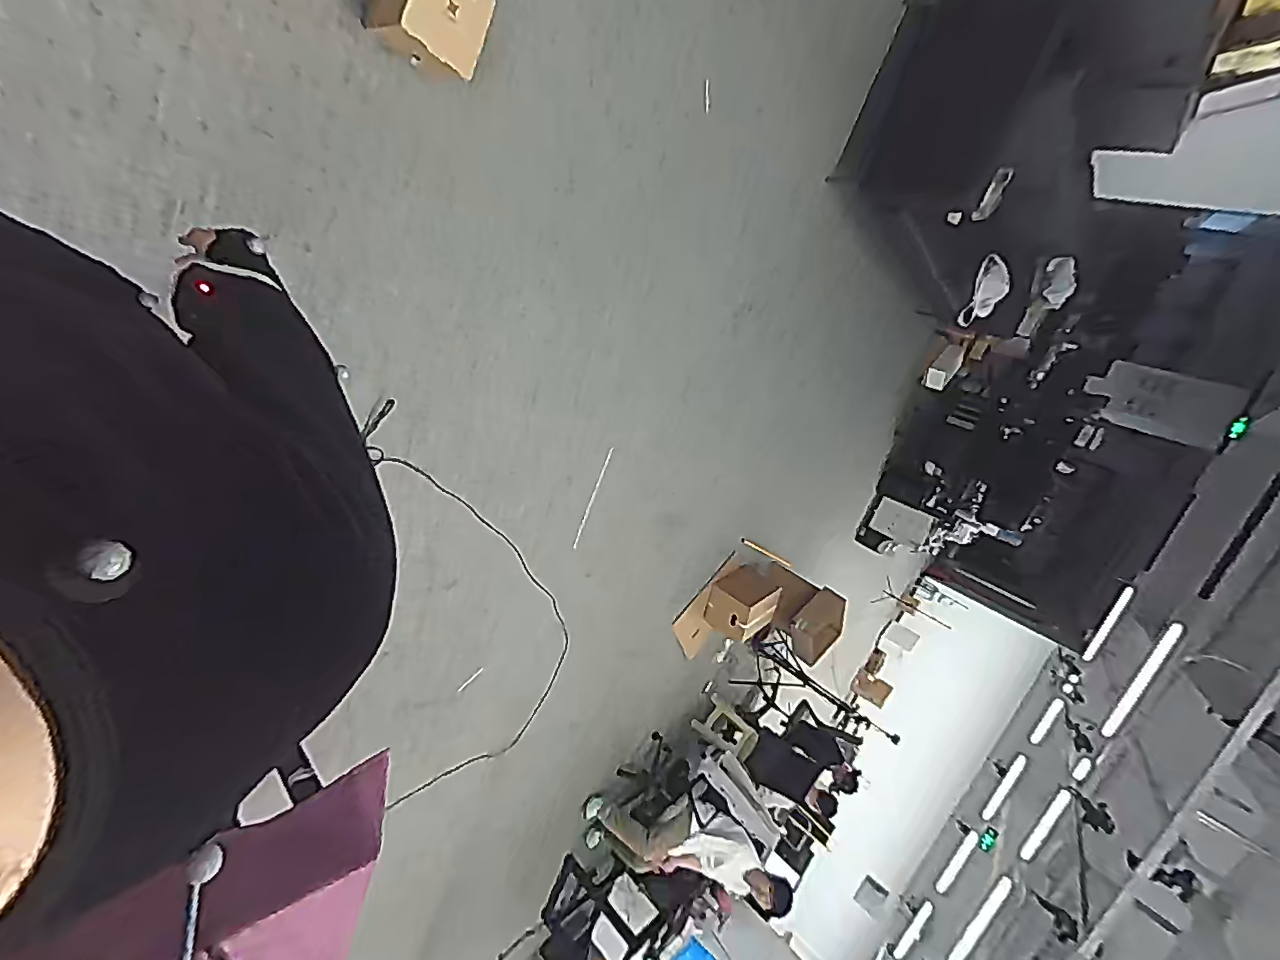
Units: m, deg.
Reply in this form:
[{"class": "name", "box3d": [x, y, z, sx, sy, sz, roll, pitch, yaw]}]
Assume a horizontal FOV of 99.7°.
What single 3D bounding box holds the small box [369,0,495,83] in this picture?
[{"class": "small box", "box3d": [-0.446, -0.984, 1.145, 0.168, 0.176, 0.179, 10, 107, -54]}]
